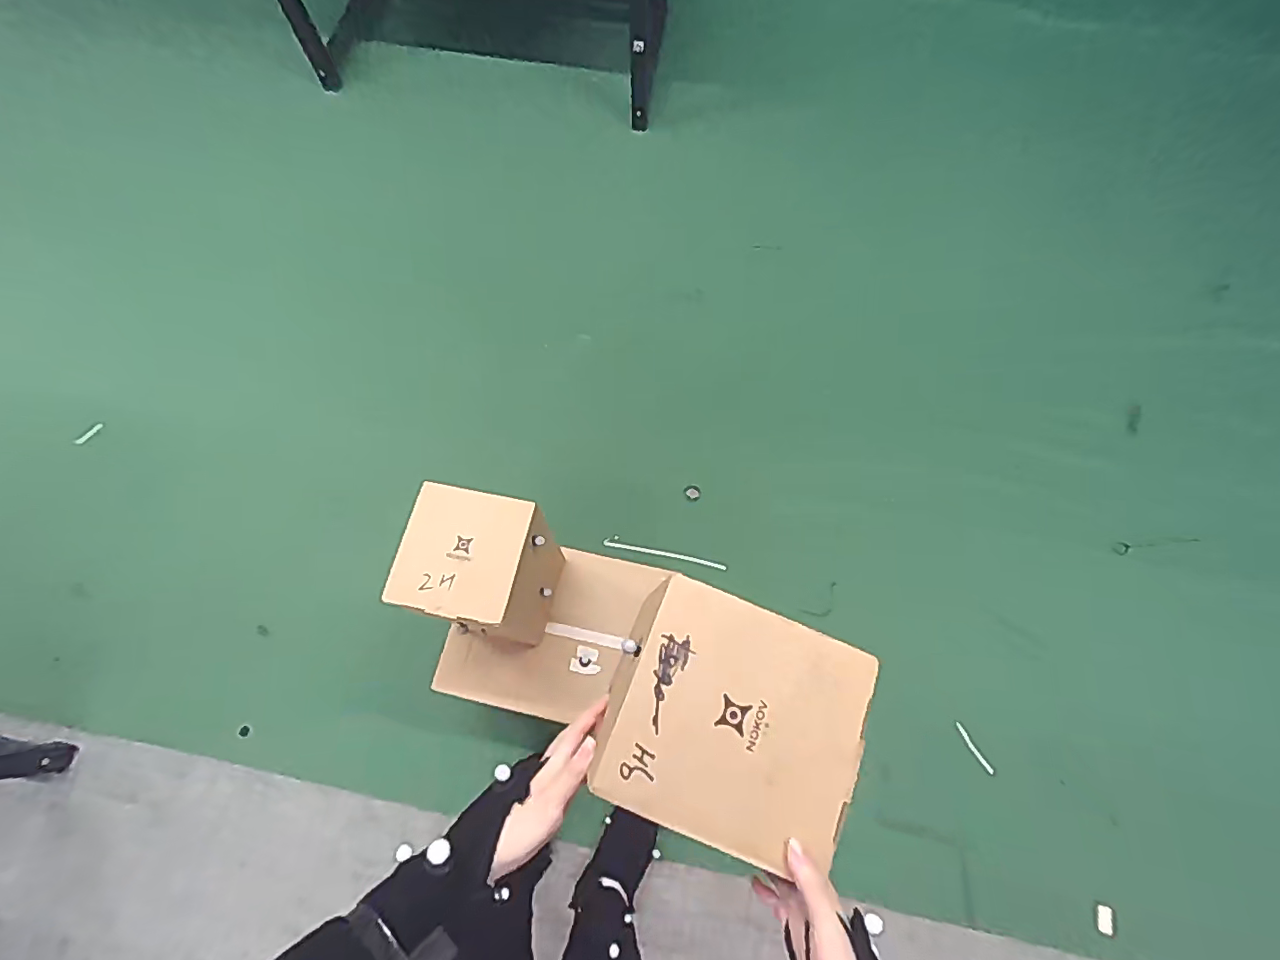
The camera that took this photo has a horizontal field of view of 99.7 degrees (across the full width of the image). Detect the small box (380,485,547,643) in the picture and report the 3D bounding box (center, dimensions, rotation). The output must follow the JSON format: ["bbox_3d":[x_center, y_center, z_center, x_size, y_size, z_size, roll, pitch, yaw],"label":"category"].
[{"bbox_3d":[-0.242,0.130,0.797,0.168,0.176,0.179,11,68,4],"label":"small box"}]

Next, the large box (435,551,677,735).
[{"bbox_3d":[-0.151,0.345,1.150,0.408,0.320,0.320,12,69,4],"label":"large box"}]

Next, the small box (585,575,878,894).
[{"bbox_3d":[0.064,0.200,0.464,0.179,0.176,0.168,23,70,2],"label":"small box"}]

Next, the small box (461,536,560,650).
[{"bbox_3d":[-0.244,0.189,0.952,0.168,0.176,0.179,12,69,4],"label":"small box"}]
